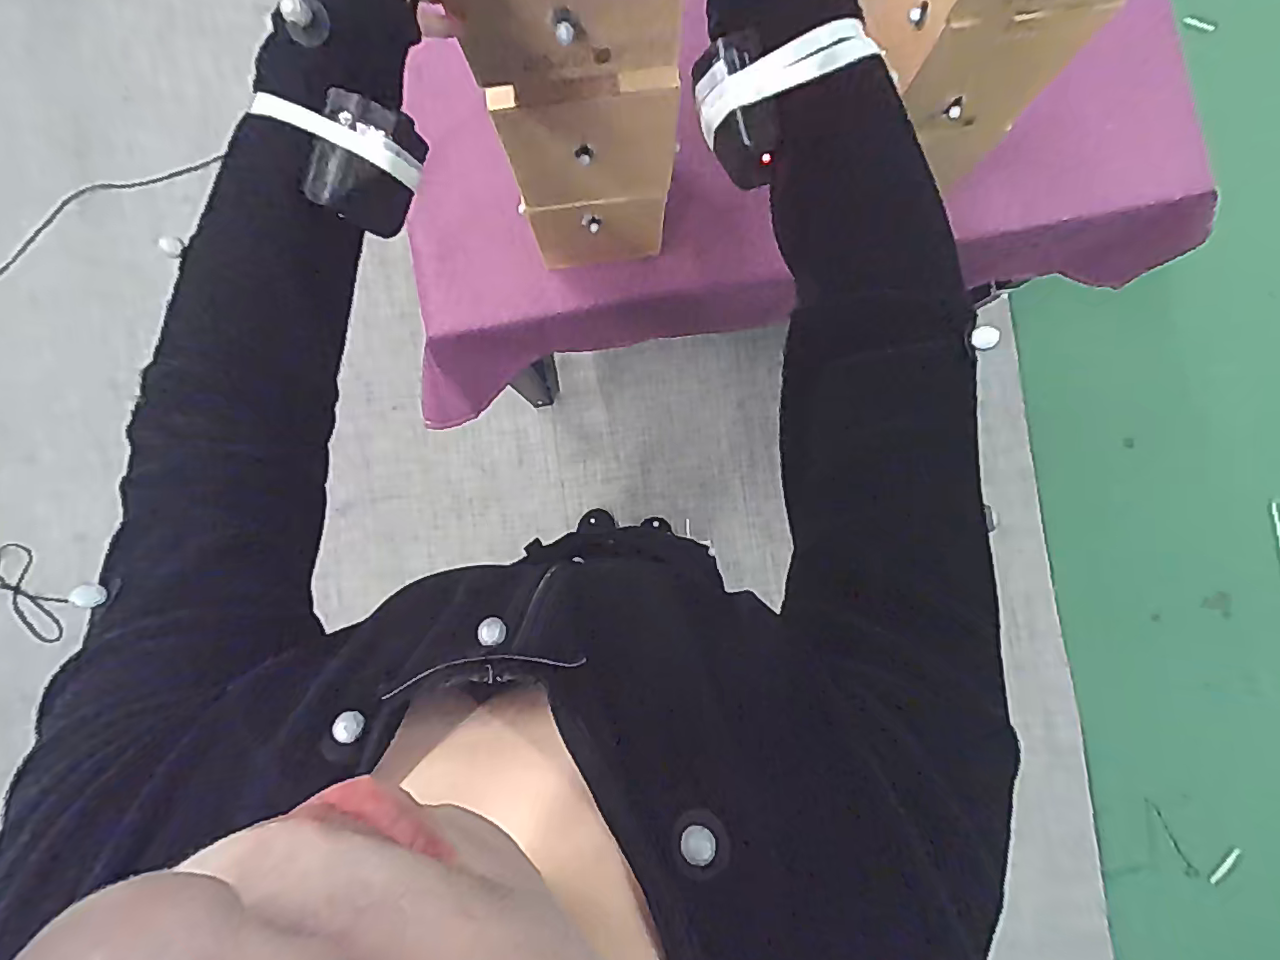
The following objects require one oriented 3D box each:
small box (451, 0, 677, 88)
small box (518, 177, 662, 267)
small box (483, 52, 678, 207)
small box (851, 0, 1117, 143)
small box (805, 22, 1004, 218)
[{"bbox_3d":[-0.062,-0.419,0.369,0.168,0.176,0.179,-6,90,1],"label":"small box"},{"bbox_3d":[-0.067,-0.407,0.734,0.179,0.176,0.168,-7,88,-1],"label":"small box"},{"bbox_3d":[-0.061,-0.417,0.571,0.179,0.176,0.168,-8,88,1],"label":"small box"},{"bbox_3d":[0.344,-0.503,0.576,0.168,0.176,0.179,-8,88,0],"label":"small box"},{"bbox_3d":[0.346,-0.486,0.738,0.179,0.176,0.168,-8,87,-1],"label":"small box"}]
